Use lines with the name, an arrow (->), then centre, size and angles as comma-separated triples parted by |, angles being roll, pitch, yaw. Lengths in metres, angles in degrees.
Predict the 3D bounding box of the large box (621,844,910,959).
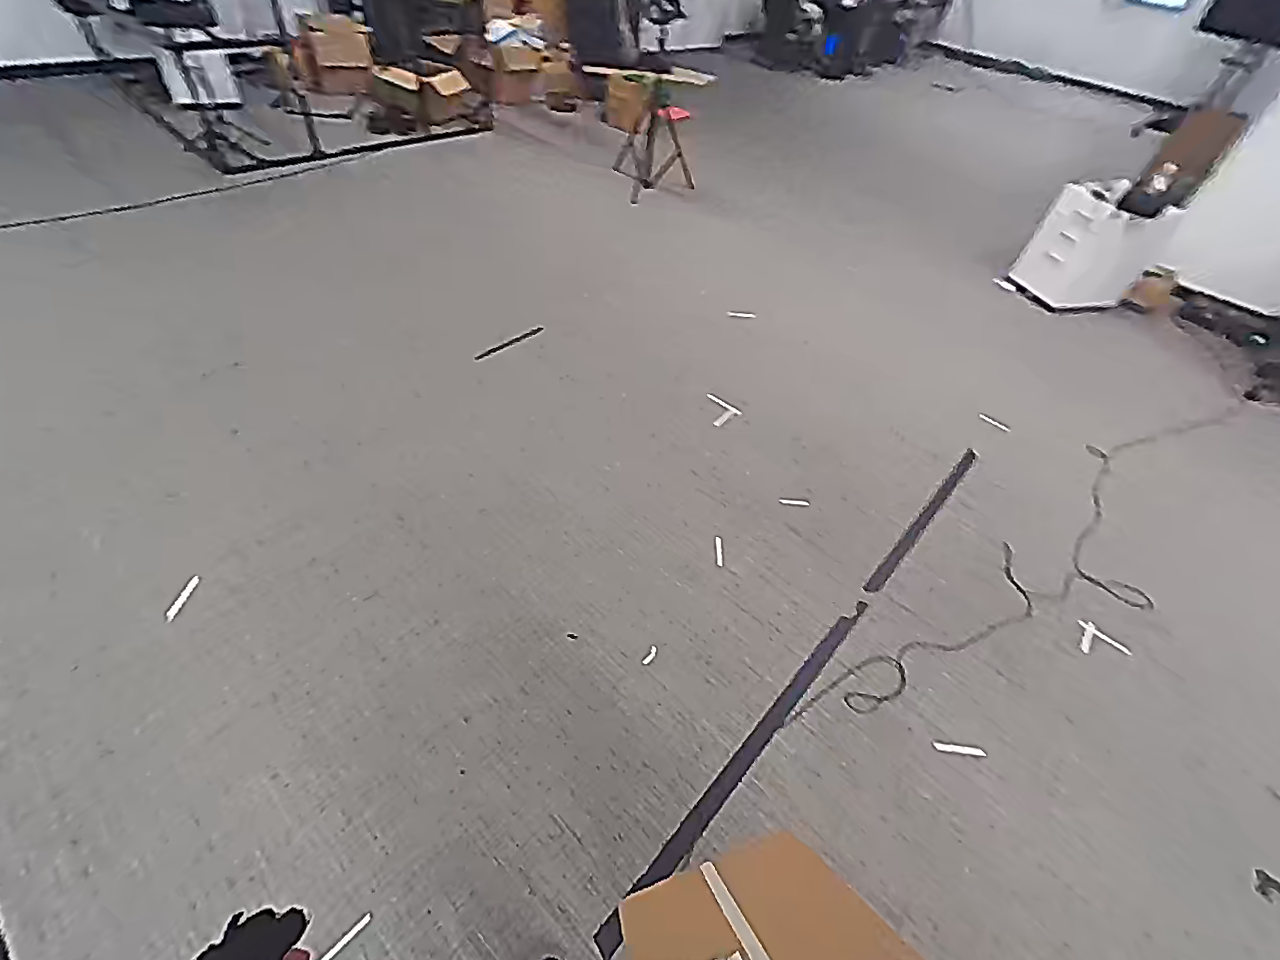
large box -> 0.181, 0.753, 0.685 | 0.320, 0.408, 0.320 | -14, 78, -11
